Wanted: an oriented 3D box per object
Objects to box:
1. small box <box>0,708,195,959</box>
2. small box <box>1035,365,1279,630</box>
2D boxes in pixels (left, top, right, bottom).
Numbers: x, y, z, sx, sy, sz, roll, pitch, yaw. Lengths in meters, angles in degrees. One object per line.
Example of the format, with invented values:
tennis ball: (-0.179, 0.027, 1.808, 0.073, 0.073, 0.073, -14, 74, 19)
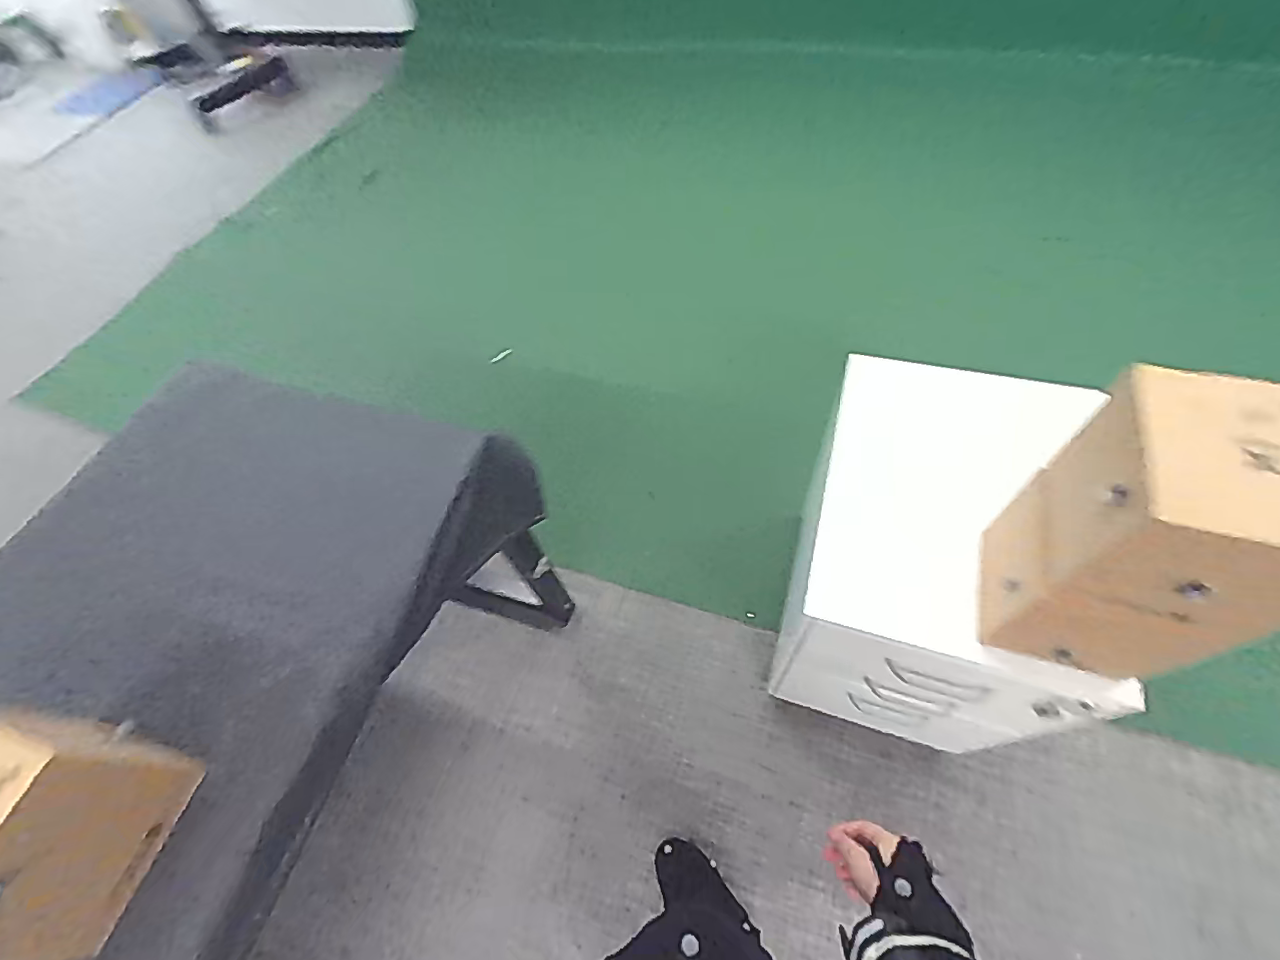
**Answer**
small box: (-0.579, 0.314, 0.490, 0.179, 0.176, 0.168, 10, 60, 13)
small box: (0.510, 0.022, 0.517, 0.168, 0.176, 0.179, 14, 60, 15)
